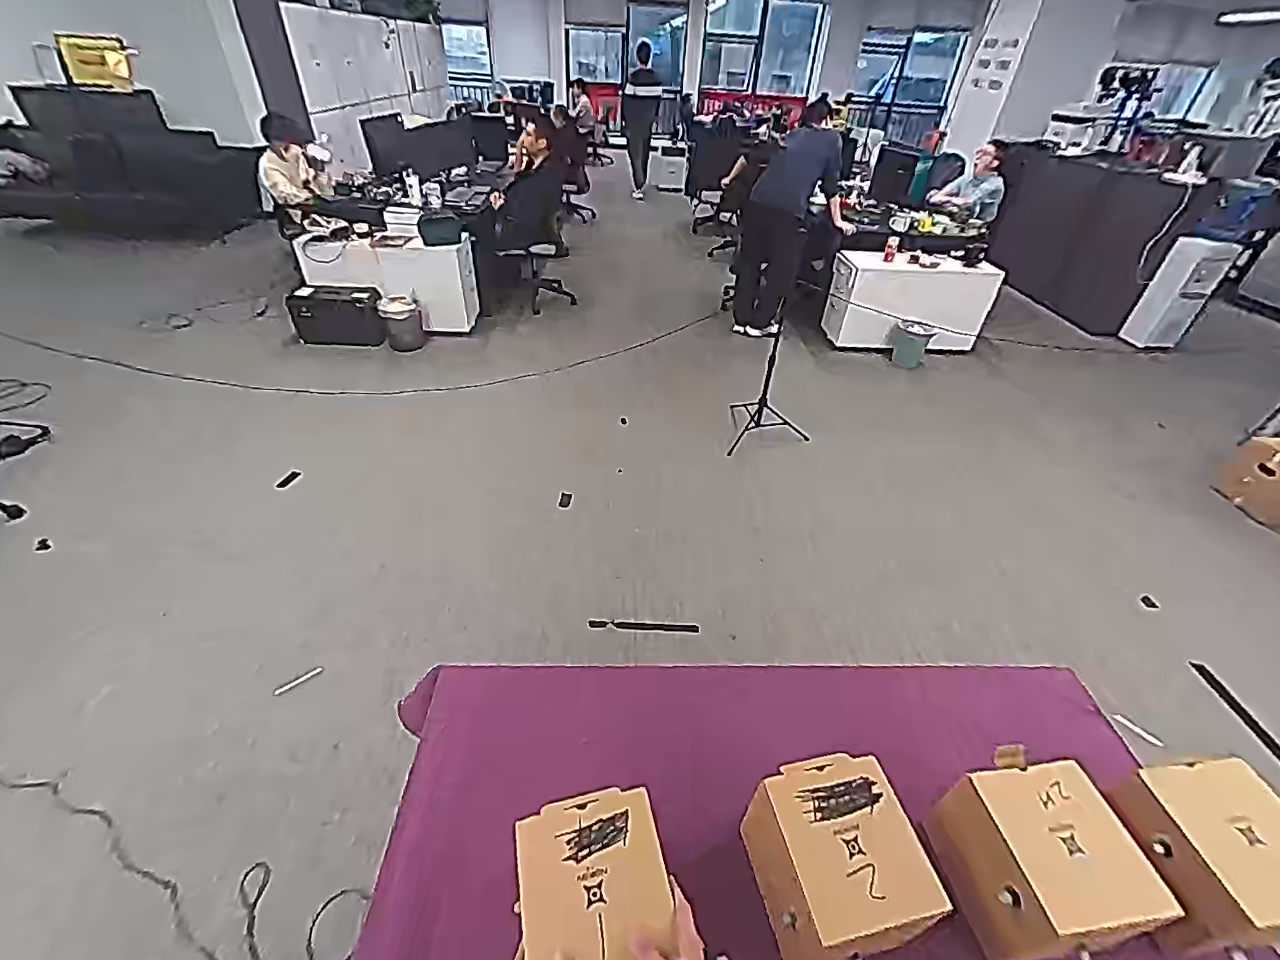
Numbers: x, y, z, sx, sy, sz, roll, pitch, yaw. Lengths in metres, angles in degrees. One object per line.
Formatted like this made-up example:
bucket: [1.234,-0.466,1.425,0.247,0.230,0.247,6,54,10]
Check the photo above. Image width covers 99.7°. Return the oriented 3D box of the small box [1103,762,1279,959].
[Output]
small box: [0.765,0.515,0.734,0.168,0.176,0.179,-3,38,-5]

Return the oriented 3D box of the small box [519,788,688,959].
small box: [-0.048,0.516,0.652,0.168,0.176,0.179,-10,39,-10]

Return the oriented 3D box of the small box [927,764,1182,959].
small box: [0.526,0.511,0.720,0.168,0.176,0.179,-2,38,-7]
